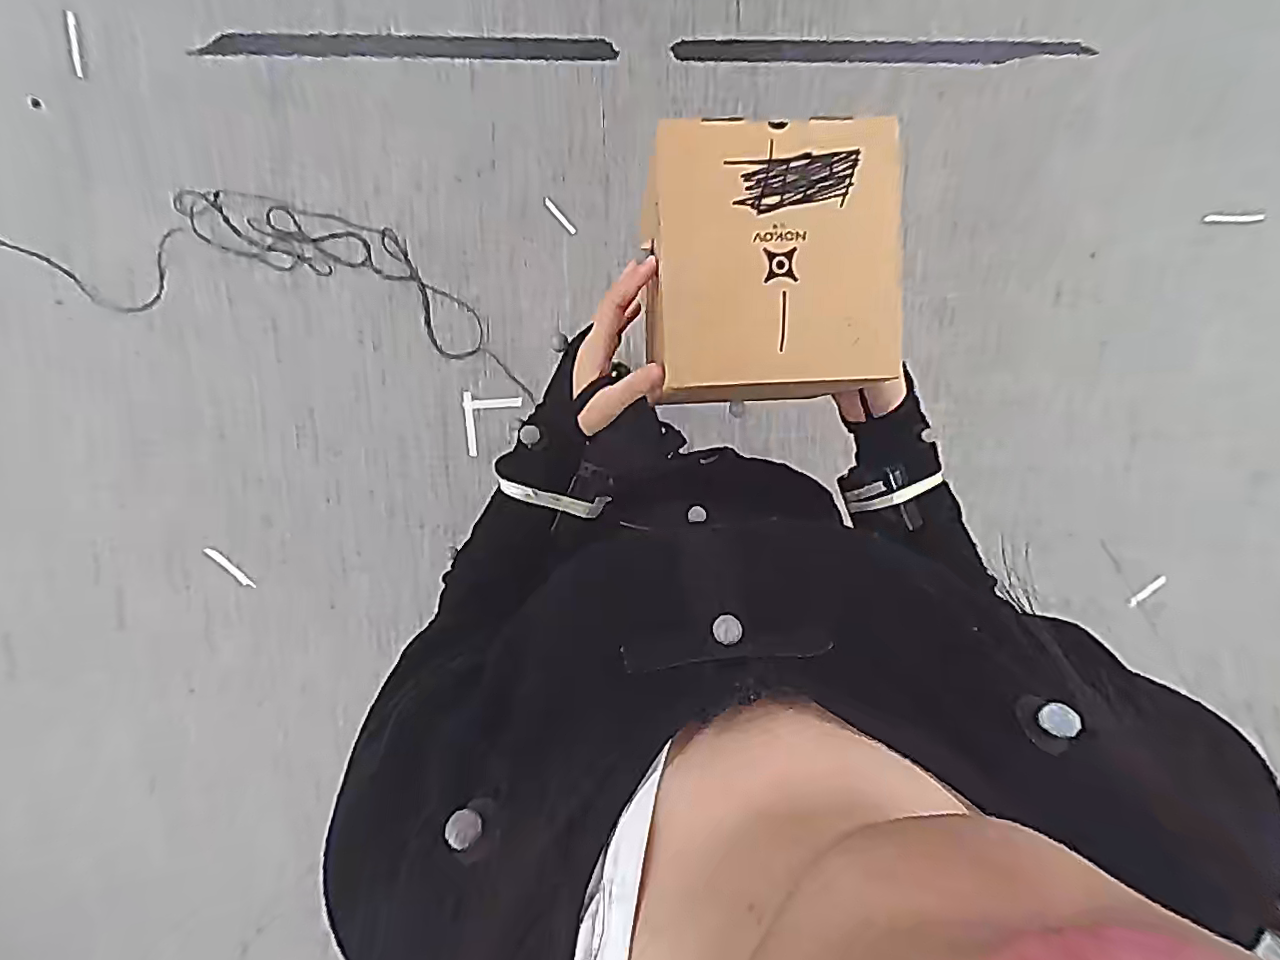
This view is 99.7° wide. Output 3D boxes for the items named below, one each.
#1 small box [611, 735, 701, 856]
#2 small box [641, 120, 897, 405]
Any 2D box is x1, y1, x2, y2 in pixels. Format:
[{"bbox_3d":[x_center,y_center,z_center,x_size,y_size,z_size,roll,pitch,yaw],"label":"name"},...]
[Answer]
[{"bbox_3d":[0.030,0.682,1.186,0.179,0.176,0.168,4,97,-2],"label":"small box"},{"bbox_3d":[0.090,-0.160,0.449,0.168,0.176,0.179,-3,94,-3],"label":"small box"}]
